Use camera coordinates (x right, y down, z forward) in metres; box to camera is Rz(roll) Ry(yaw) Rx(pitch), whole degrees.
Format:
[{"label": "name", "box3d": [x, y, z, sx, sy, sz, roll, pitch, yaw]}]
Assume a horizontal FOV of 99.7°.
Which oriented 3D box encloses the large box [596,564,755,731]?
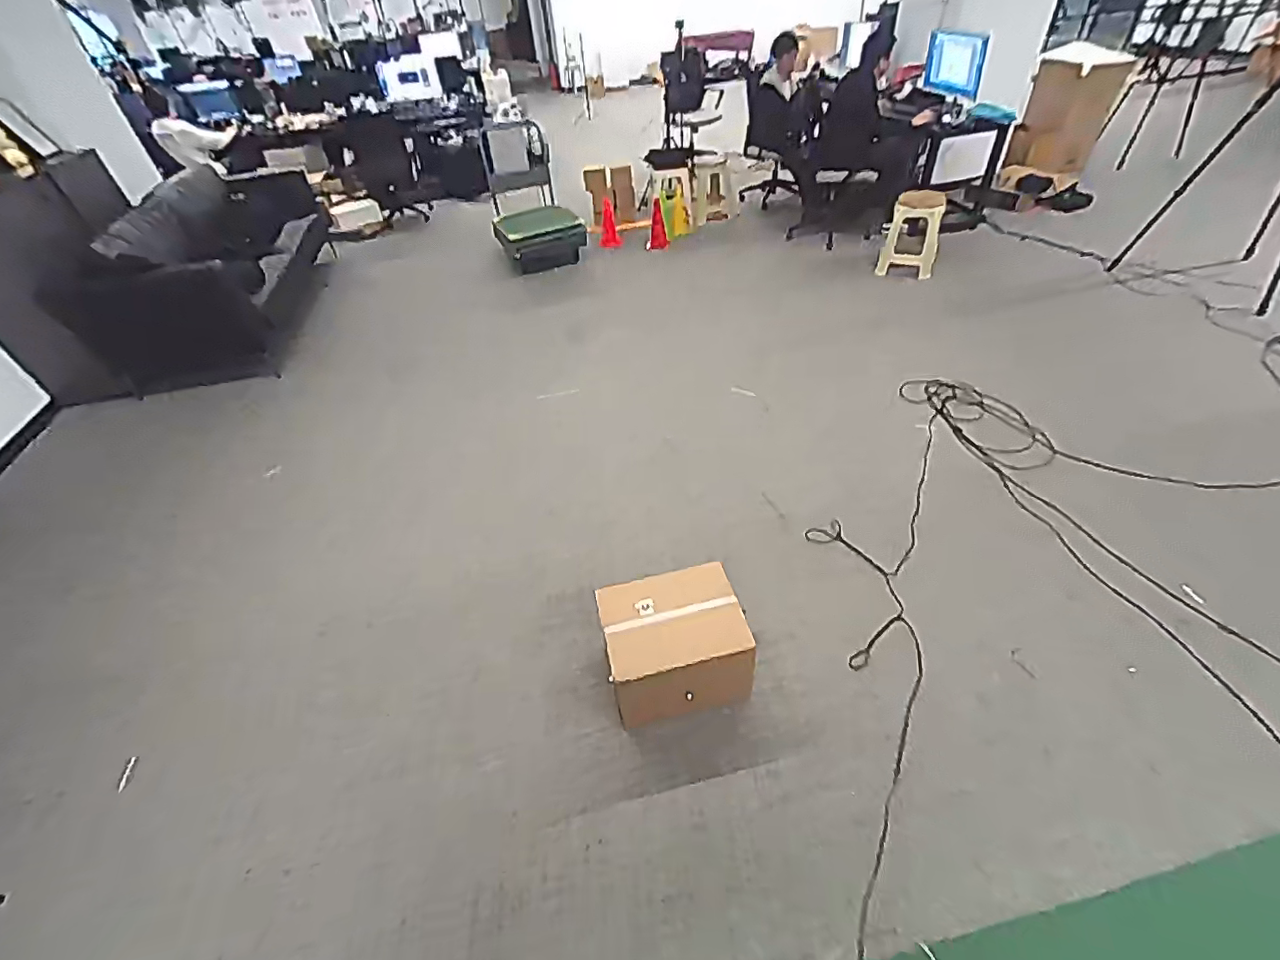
[{"label": "large box", "box3d": [0.107, 0.518, 1.677, 0.408, 0.320, 0.320, -14, 42, -6]}]
